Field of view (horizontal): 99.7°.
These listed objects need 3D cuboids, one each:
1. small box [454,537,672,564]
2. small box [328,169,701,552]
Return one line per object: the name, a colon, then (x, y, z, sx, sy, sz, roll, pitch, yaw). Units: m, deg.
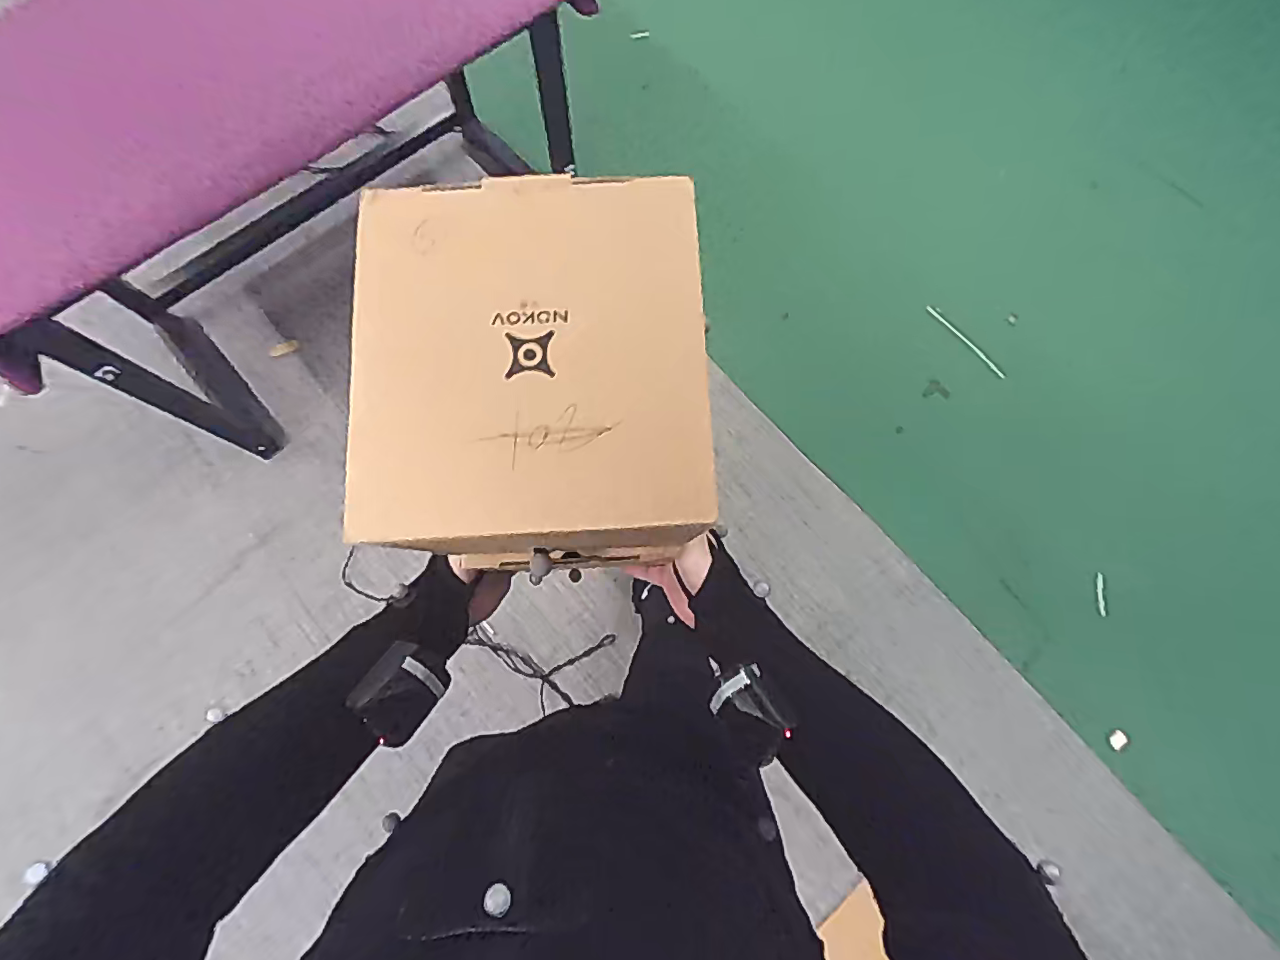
small box: (-0.060, -0.015, 0.489, 0.168, 0.176, 0.179, -4, 79, -1)
small box: (-0.058, -0.052, 0.330, 0.168, 0.176, 0.179, -3, 80, 0)
